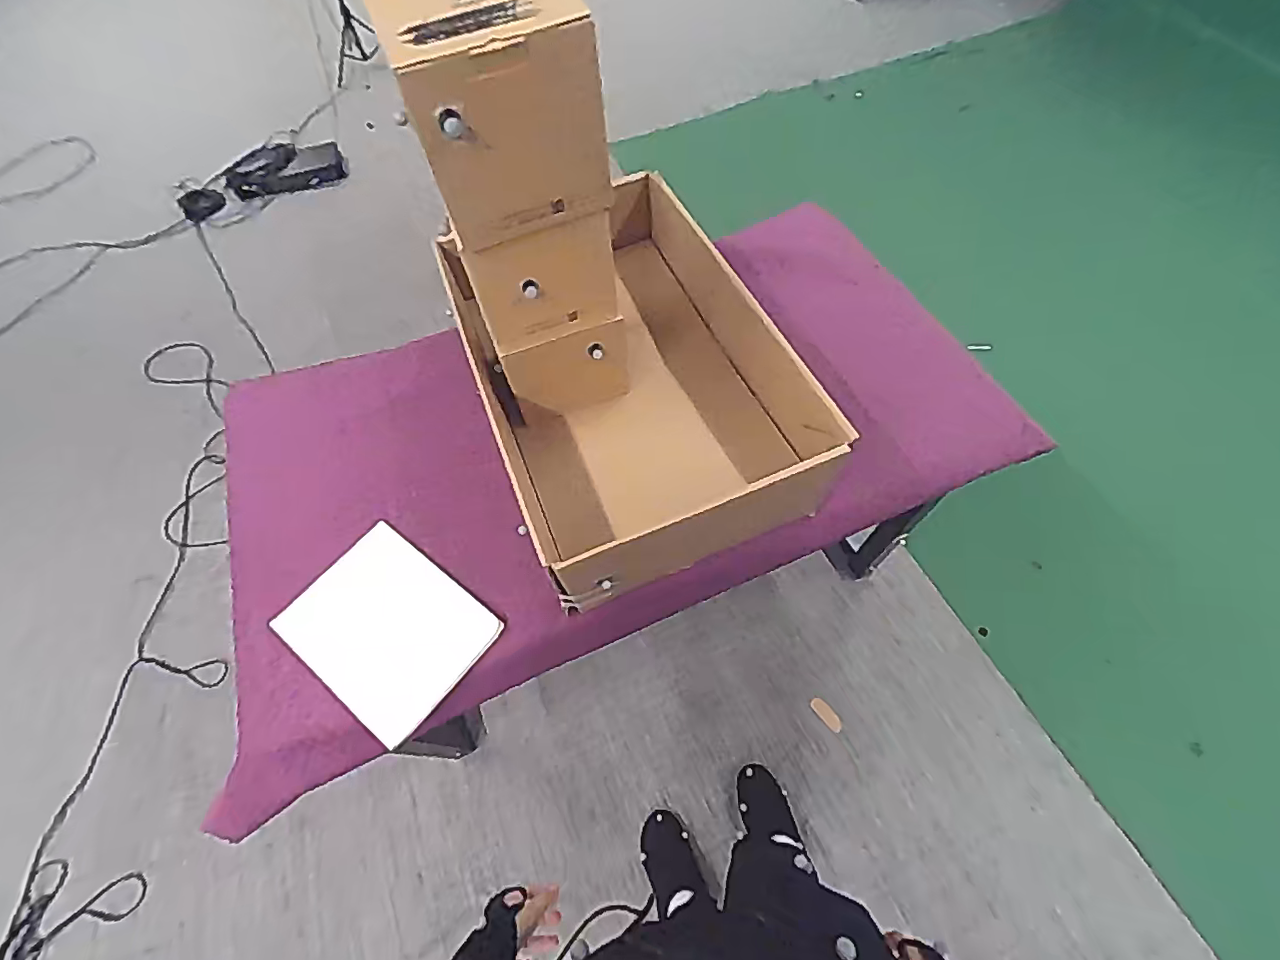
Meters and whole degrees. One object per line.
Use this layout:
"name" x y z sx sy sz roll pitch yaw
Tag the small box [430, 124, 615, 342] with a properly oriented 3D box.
"small box" -0.138 -0.297 0.679 0.168 0.176 0.179 -20 63 -8
